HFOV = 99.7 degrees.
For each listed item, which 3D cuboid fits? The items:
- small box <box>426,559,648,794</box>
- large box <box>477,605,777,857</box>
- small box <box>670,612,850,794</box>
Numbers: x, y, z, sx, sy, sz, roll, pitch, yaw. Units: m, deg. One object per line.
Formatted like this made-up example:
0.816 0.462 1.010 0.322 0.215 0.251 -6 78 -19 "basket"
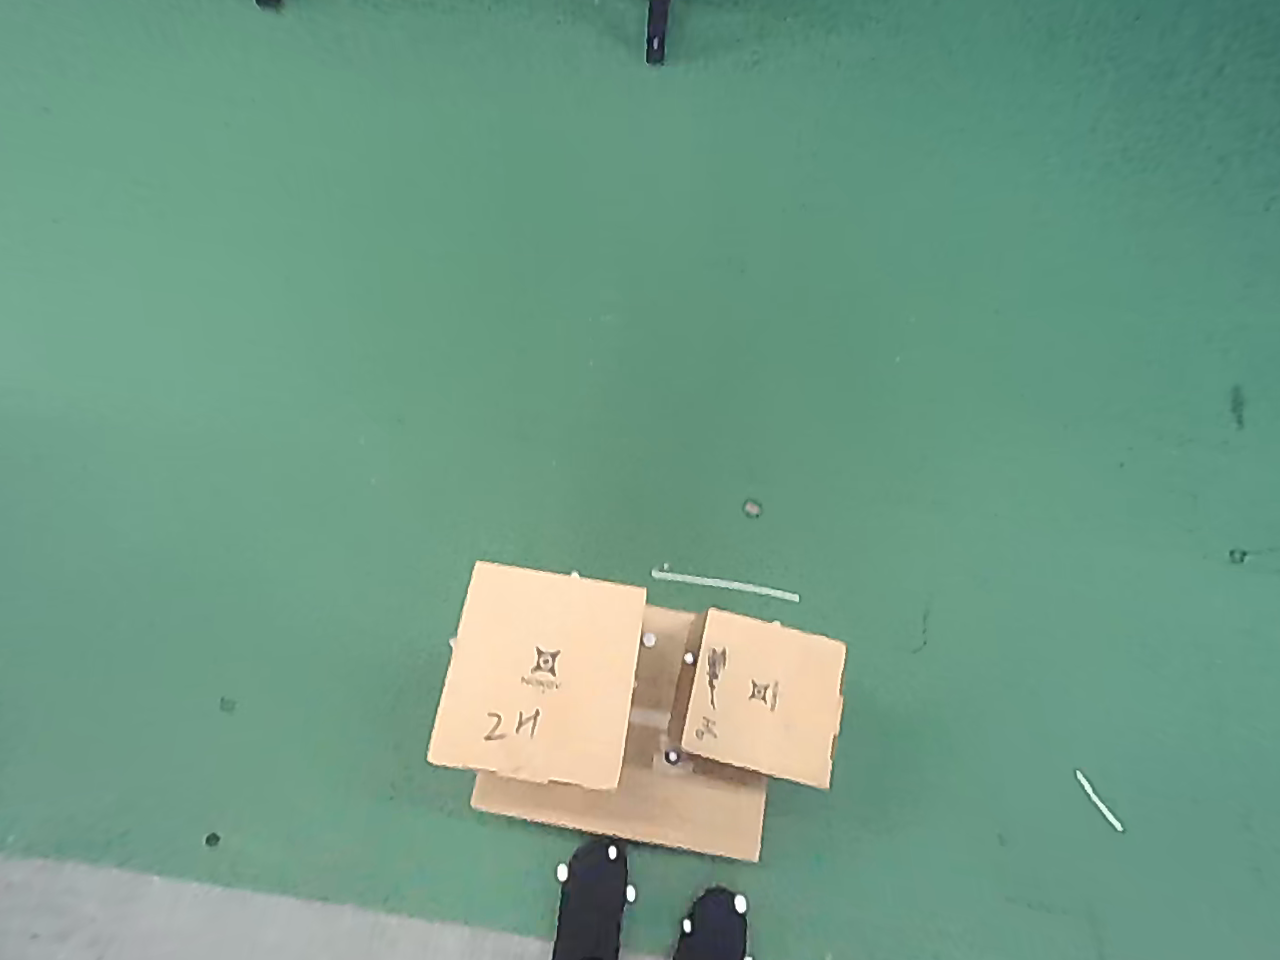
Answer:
-0.090 0.193 0.552 0.168 0.176 0.179 9 71 0 "small box"
-0.015 0.386 0.920 0.408 0.320 0.320 10 72 0 "large box"
0.146 0.280 0.704 0.179 0.176 0.168 14 71 3 "small box"
